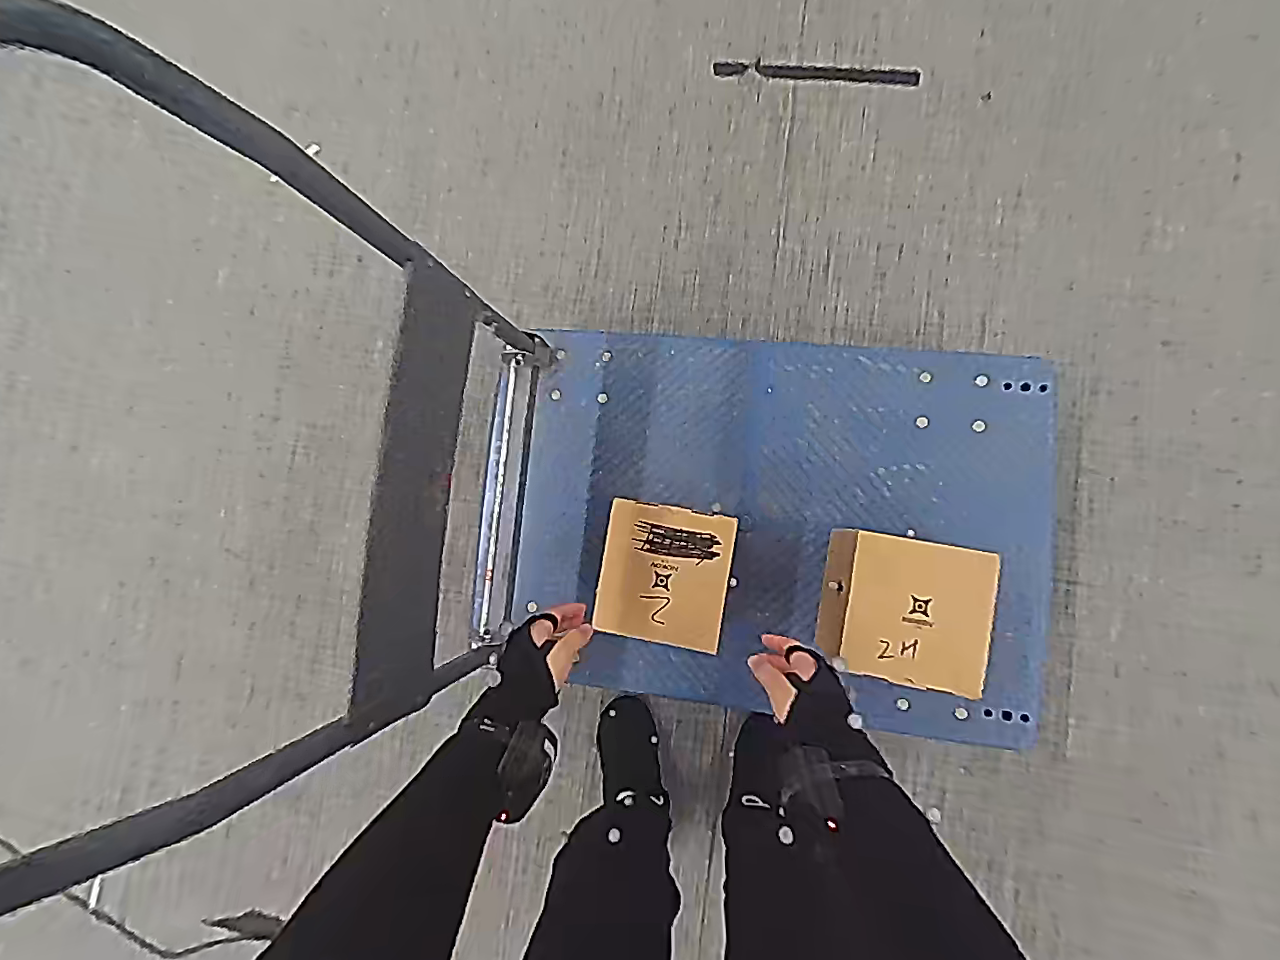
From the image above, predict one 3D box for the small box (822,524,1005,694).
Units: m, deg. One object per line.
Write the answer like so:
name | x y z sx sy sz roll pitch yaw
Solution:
small box | 0.351 0.159 0.725 0.168 0.176 0.179 9 87 9
